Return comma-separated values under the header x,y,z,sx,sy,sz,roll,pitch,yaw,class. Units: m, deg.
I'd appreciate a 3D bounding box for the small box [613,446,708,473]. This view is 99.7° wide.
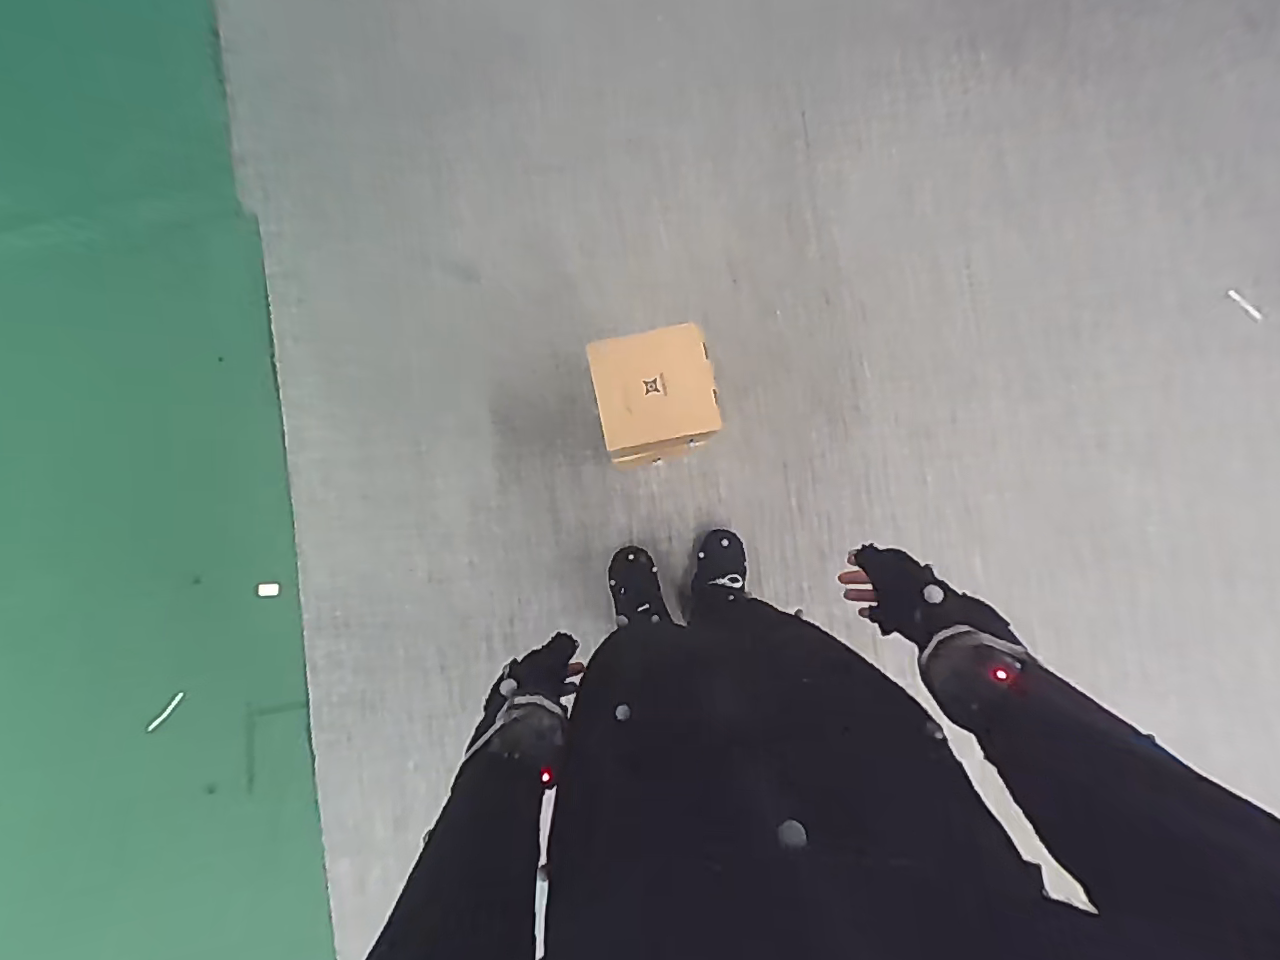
x,y,z,sx,sy,sz,roll,pitch,yaw,class
0.022,-0.110,1.047,0.179,0.176,0.168,-12,88,0,small box

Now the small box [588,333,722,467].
x,y,z,sx,sy,sz,roll,pitch,yaw,class
0.023,-0.121,0.885,0.179,0.176,0.168,-13,87,1,small box
